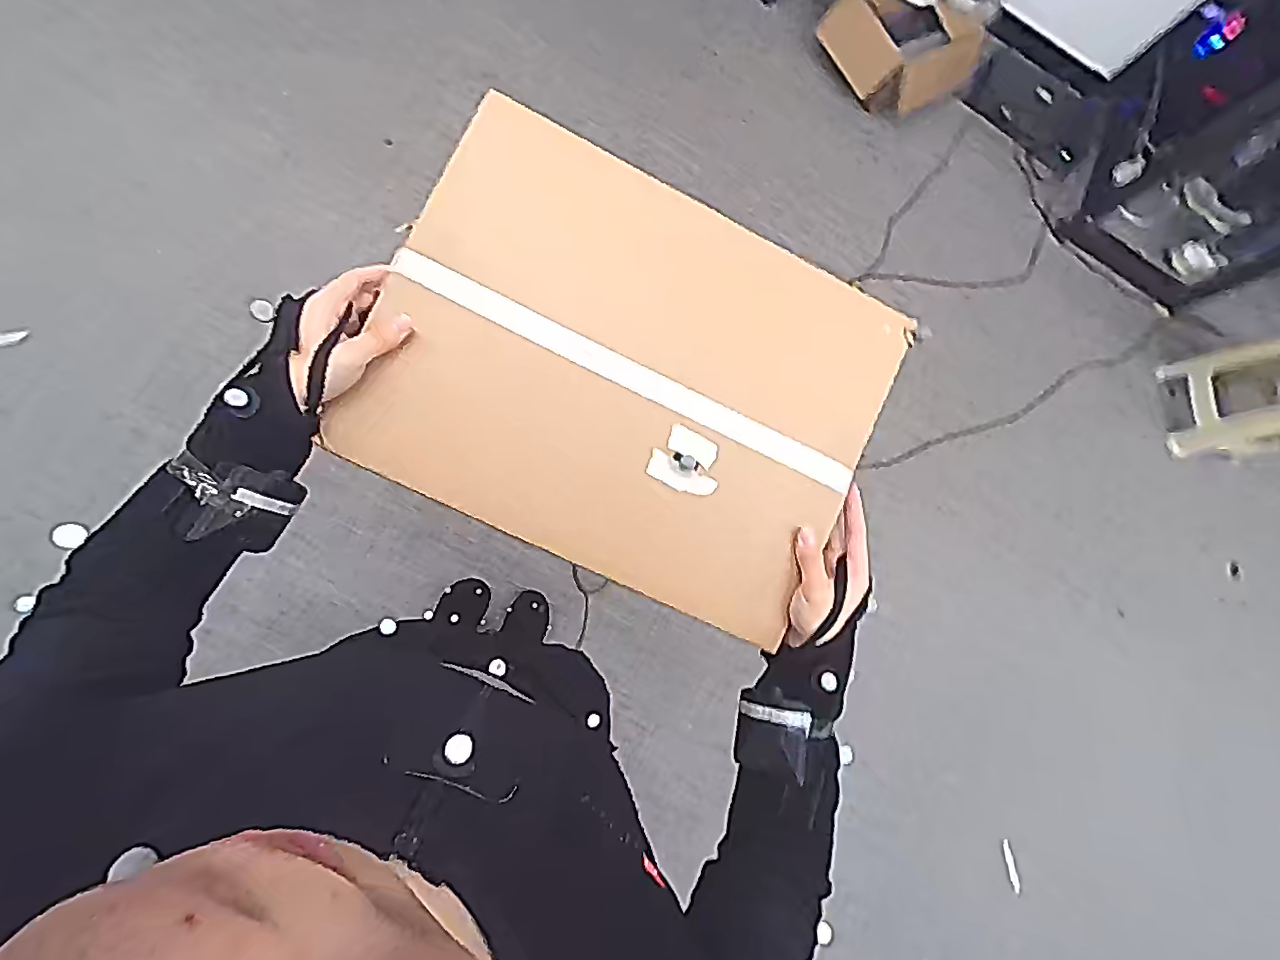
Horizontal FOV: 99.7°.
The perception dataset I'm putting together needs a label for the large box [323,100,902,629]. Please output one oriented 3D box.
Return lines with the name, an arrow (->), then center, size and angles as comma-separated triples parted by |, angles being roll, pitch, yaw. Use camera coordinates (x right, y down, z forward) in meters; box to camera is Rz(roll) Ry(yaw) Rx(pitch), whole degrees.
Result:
large box -> -0.027, -0.087, 0.592 | 0.408, 0.320, 0.320 | 26, 86, -7
